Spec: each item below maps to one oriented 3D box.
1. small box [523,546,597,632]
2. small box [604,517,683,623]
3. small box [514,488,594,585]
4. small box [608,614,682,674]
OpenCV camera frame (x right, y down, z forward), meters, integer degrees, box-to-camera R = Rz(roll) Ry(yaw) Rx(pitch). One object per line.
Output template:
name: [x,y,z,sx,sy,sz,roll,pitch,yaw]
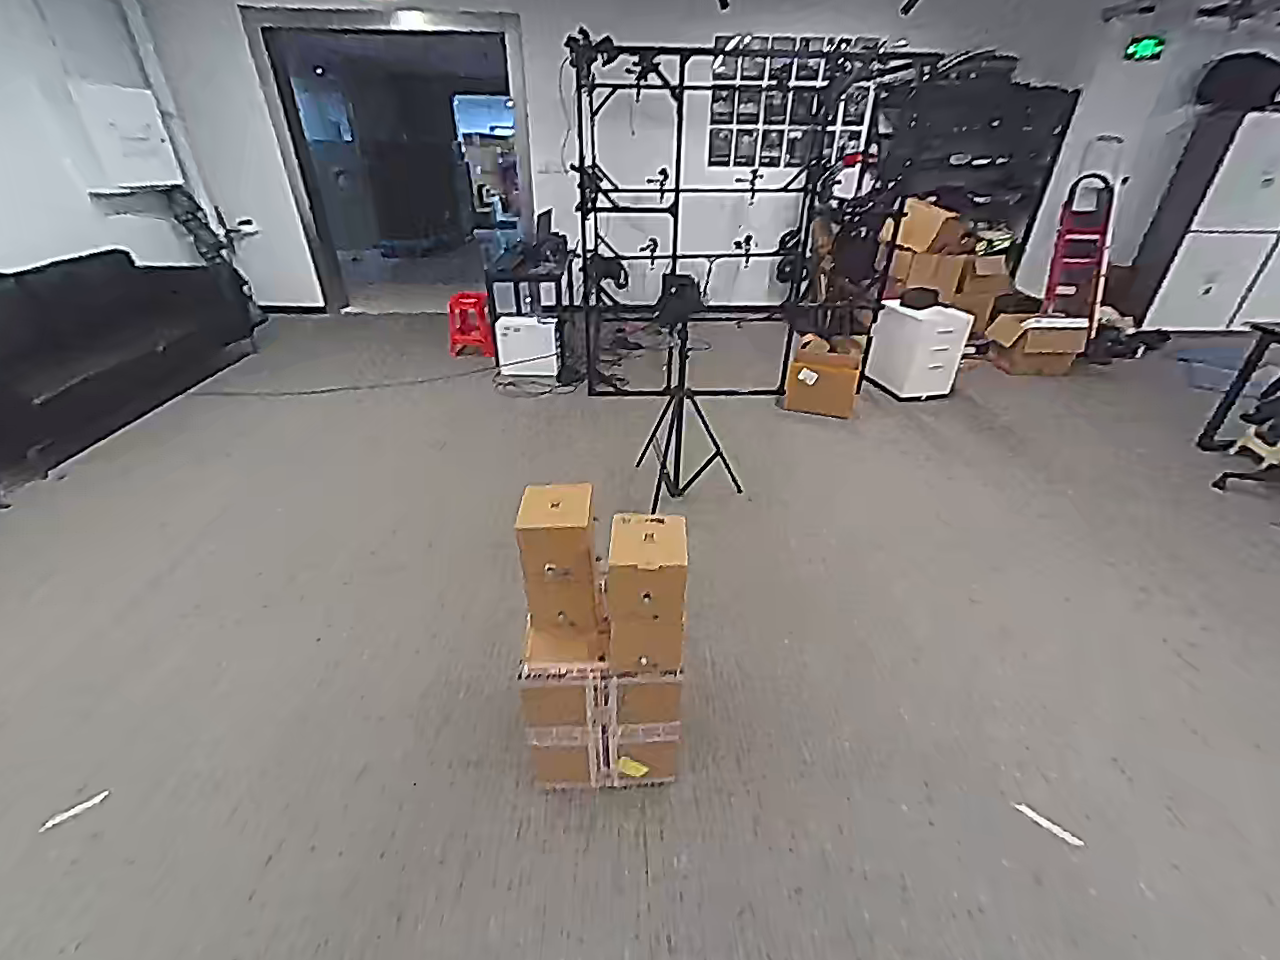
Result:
small box: [-0.202,0.272,1.407,0.168,0.176,0.179,-2,33,-1]
small box: [0.011,0.204,1.215,0.168,0.176,0.179,2,33,1]
small box: [-0.202,0.136,1.319,0.168,0.176,0.179,-2,33,-1]
small box: [0.007,0.341,1.304,0.168,0.176,0.179,0,33,-2]
